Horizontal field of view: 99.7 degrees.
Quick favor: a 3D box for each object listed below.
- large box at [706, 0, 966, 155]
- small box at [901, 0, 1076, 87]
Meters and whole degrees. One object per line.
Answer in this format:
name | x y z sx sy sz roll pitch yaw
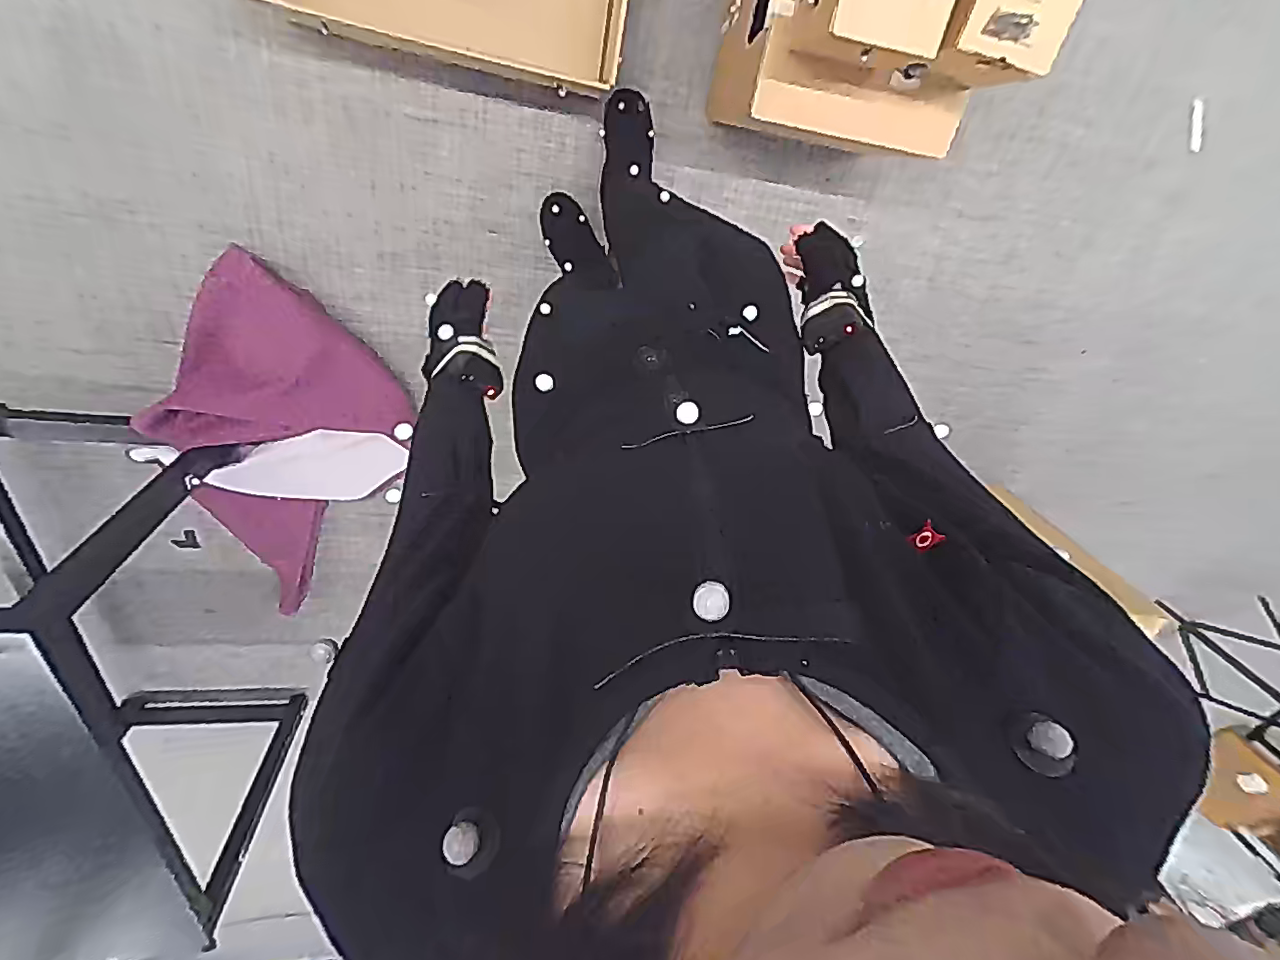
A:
large box | 0.380 -0.839 1.043 0.408 0.320 0.320 2 122 -13
small box | 0.543 -0.742 0.842 0.168 0.176 0.179 7 119 -14
